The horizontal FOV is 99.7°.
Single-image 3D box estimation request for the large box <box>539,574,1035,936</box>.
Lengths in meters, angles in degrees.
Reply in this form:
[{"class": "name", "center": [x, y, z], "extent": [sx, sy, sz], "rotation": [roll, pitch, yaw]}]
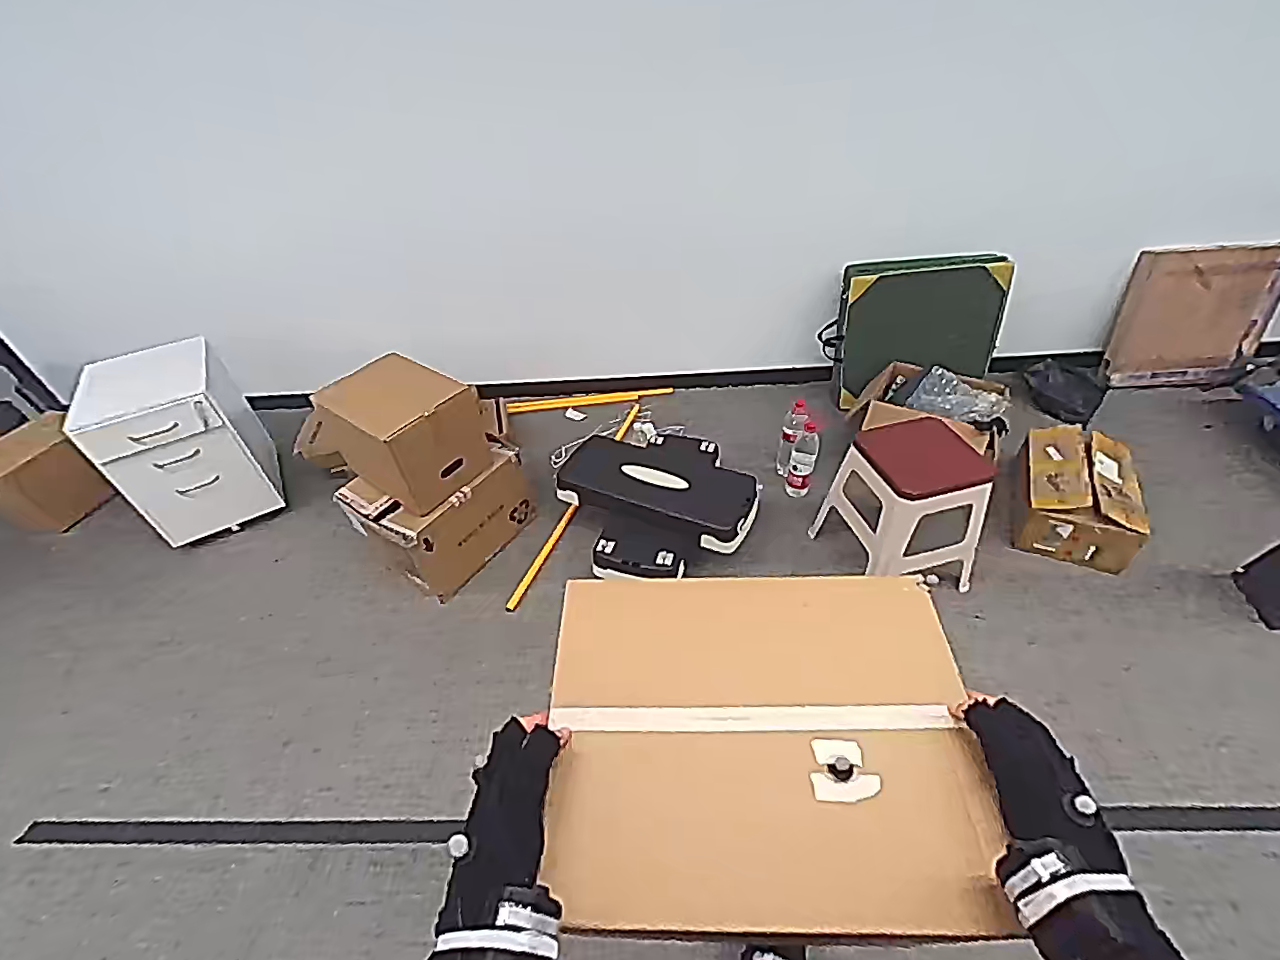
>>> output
[{"class": "large box", "center": [0.120, 0.328, 0.638], "extent": [0.408, 0.320, 0.320], "rotation": [-1, 49, 3]}]
